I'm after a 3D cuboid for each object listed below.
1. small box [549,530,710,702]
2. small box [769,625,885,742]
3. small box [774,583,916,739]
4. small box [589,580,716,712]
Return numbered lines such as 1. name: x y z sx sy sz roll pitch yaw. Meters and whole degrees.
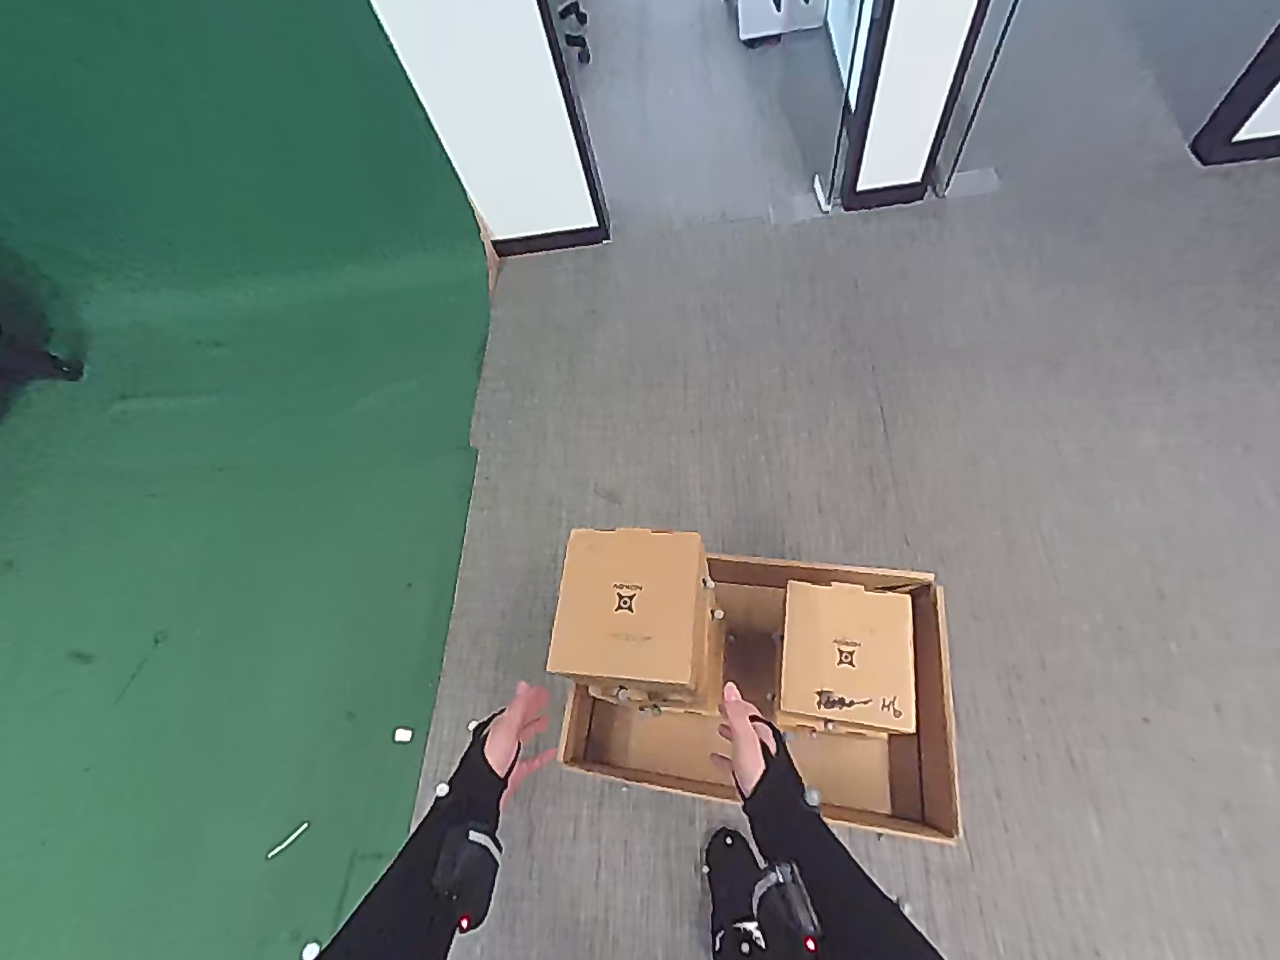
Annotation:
1. small box: 0.000 0.178 0.694 0.168 0.176 0.179 2 66 11
2. small box: 0.314 0.341 0.932 0.168 0.176 0.179 4 67 12
3. small box: 0.289 0.266 0.788 0.168 0.176 0.179 6 67 12
4. small box: 0.030 0.255 0.836 0.168 0.176 0.179 1 66 11
